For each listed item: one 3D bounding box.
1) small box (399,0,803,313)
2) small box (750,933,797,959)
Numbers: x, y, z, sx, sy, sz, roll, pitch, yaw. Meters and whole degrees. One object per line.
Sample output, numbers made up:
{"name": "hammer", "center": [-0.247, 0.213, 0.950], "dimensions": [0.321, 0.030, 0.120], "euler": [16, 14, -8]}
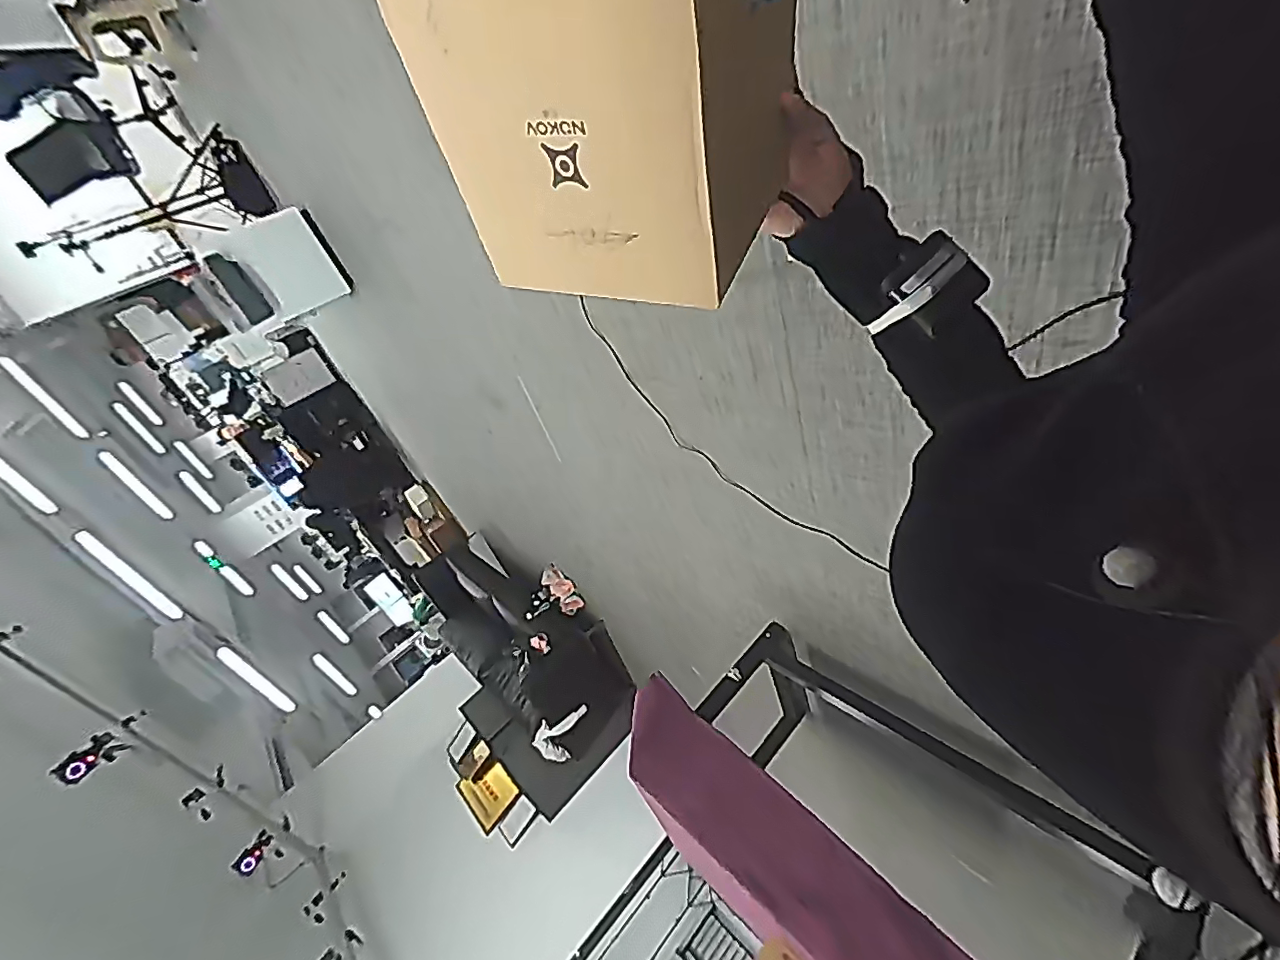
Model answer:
{"name": "small box", "center": [-0.001, -0.236, 0.341], "dimensions": [0.168, 0.176, 0.179], "euler": [14, 148, 22]}
{"name": "small box", "center": [0.370, 1.344, 1.398], "dimensions": [0.168, 0.176, 0.179], "euler": [13, 134, 51]}
